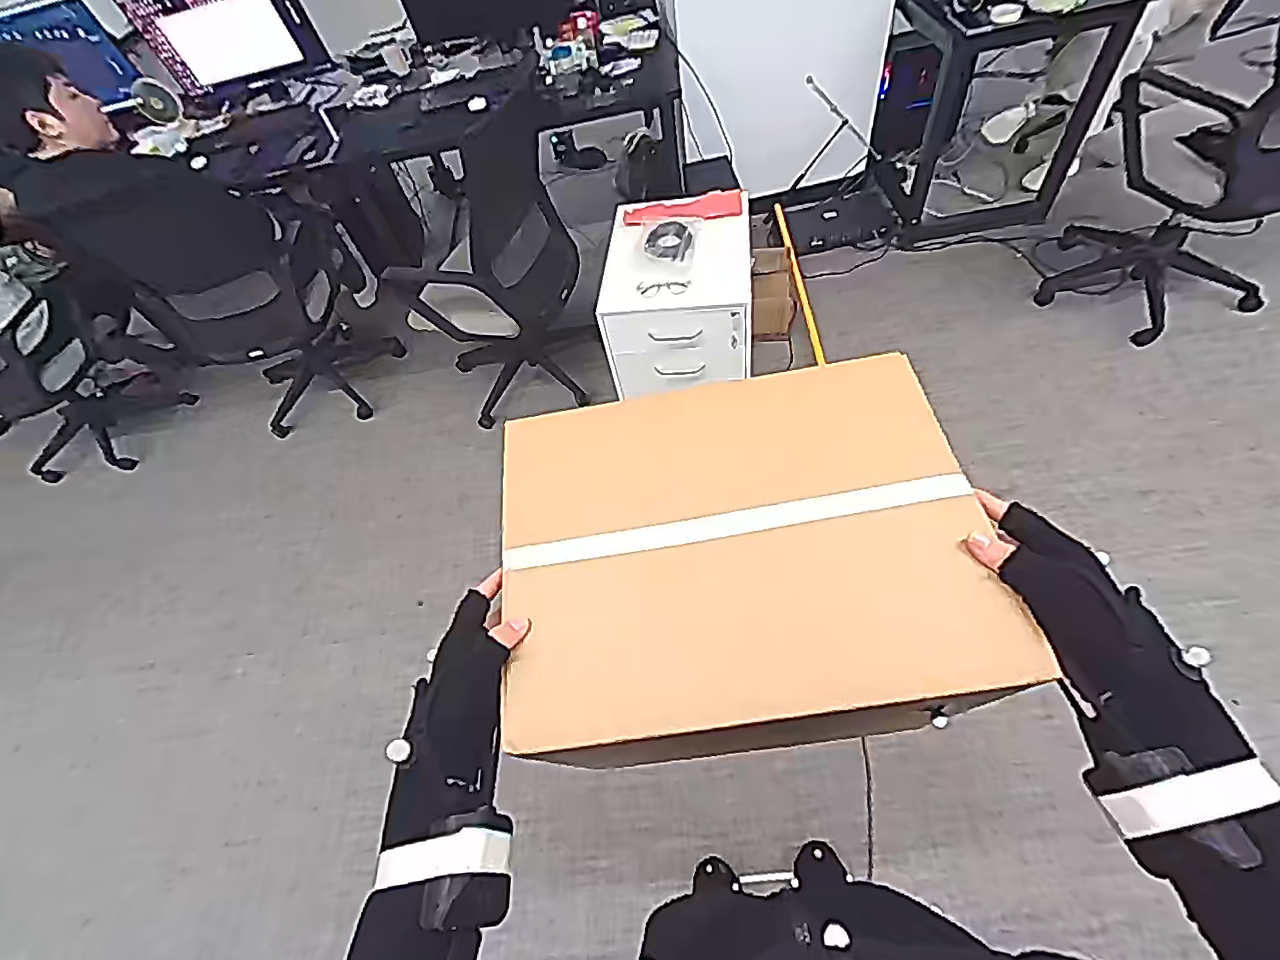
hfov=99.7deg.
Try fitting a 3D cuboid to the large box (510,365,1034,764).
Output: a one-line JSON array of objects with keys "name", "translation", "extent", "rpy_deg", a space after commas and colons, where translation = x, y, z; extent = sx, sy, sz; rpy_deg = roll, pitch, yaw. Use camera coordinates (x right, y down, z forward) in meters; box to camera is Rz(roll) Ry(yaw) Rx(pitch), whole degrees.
[{"name": "large box", "translation": [0.098, 0.118, 0.606], "extent": [0.408, 0.320, 0.320], "rpy_deg": [-9, 59, 3]}]
